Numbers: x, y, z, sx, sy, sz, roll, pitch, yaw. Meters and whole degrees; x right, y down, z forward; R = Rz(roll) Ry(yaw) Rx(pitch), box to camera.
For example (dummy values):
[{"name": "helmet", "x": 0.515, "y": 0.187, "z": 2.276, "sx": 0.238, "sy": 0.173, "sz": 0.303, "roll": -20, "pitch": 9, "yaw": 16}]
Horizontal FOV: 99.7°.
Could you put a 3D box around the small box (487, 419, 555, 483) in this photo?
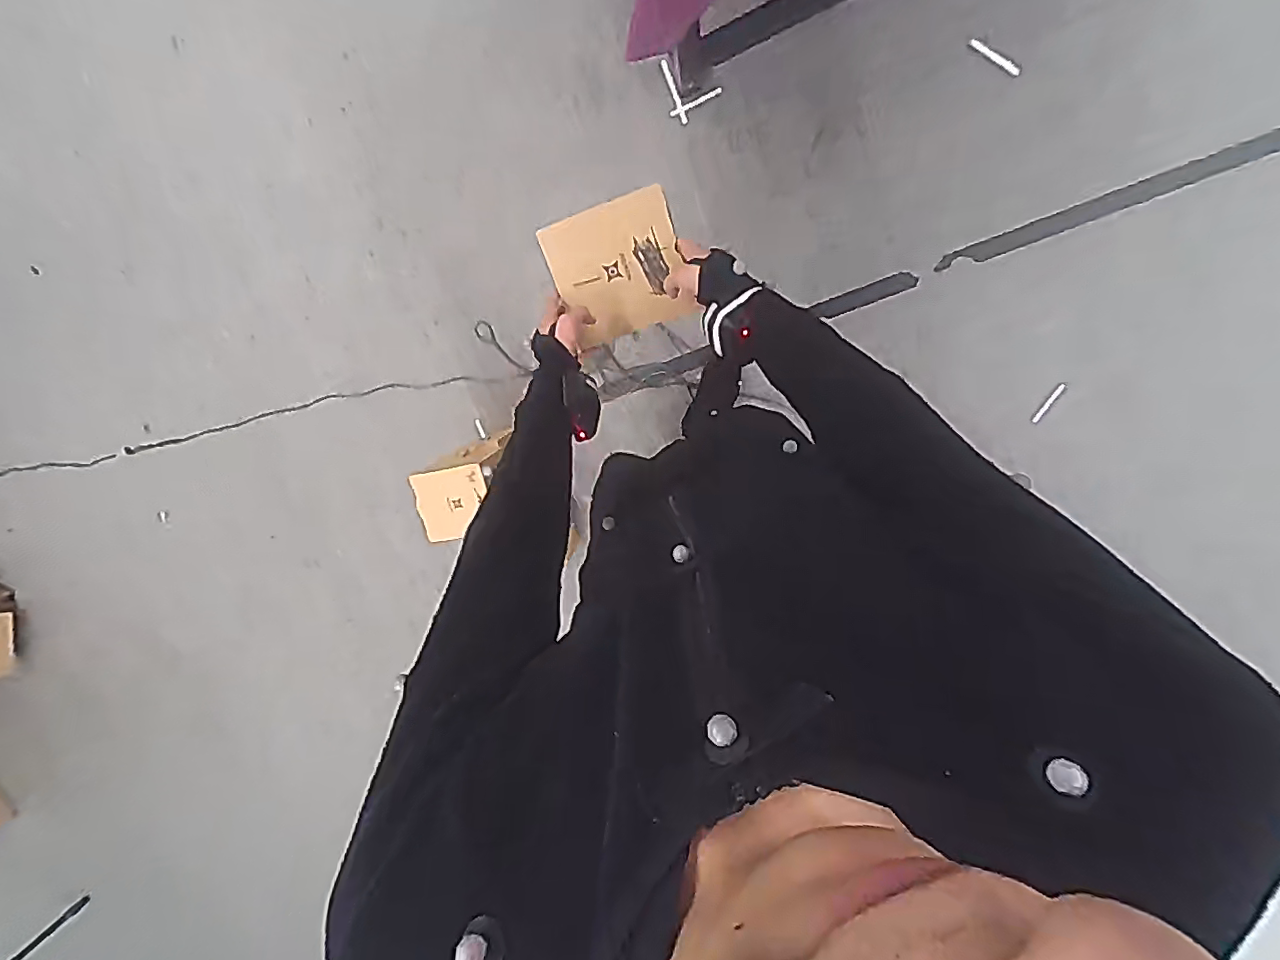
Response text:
[{"name": "small box", "x": -0.375, "y": -0.067, "z": 1.602, "sx": 0.179, "sy": 0.176, "sz": 0.168, "roll": -19, "pitch": 104, "yaw": 11}]

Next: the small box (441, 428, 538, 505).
[{"name": "small box", "x": -0.393, "y": -0.021, "z": 1.448, "sx": 0.168, "sy": 0.176, "sz": 0.179, "roll": -17, "pitch": 104, "yaw": 11}]

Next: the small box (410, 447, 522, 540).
[{"name": "small box", "x": -0.408, "y": 0.028, "z": 1.292, "sx": 0.179, "sy": 0.176, "sz": 0.168, "roll": -10, "pitch": 106, "yaw": 10}]

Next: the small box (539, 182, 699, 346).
[{"name": "small box", "x": -0.028, "y": -0.307, "z": 0.793, "sx": 0.179, "sy": 0.176, "sz": 0.168, "roll": -18, "pitch": 106, "yaw": 5}]

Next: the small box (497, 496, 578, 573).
[{"name": "small box", "x": -0.309, "y": 0.163, "z": 1.661, "sx": 0.179, "sy": 0.176, "sz": 0.168, "roll": -14, "pitch": 105, "yaw": 10}]
